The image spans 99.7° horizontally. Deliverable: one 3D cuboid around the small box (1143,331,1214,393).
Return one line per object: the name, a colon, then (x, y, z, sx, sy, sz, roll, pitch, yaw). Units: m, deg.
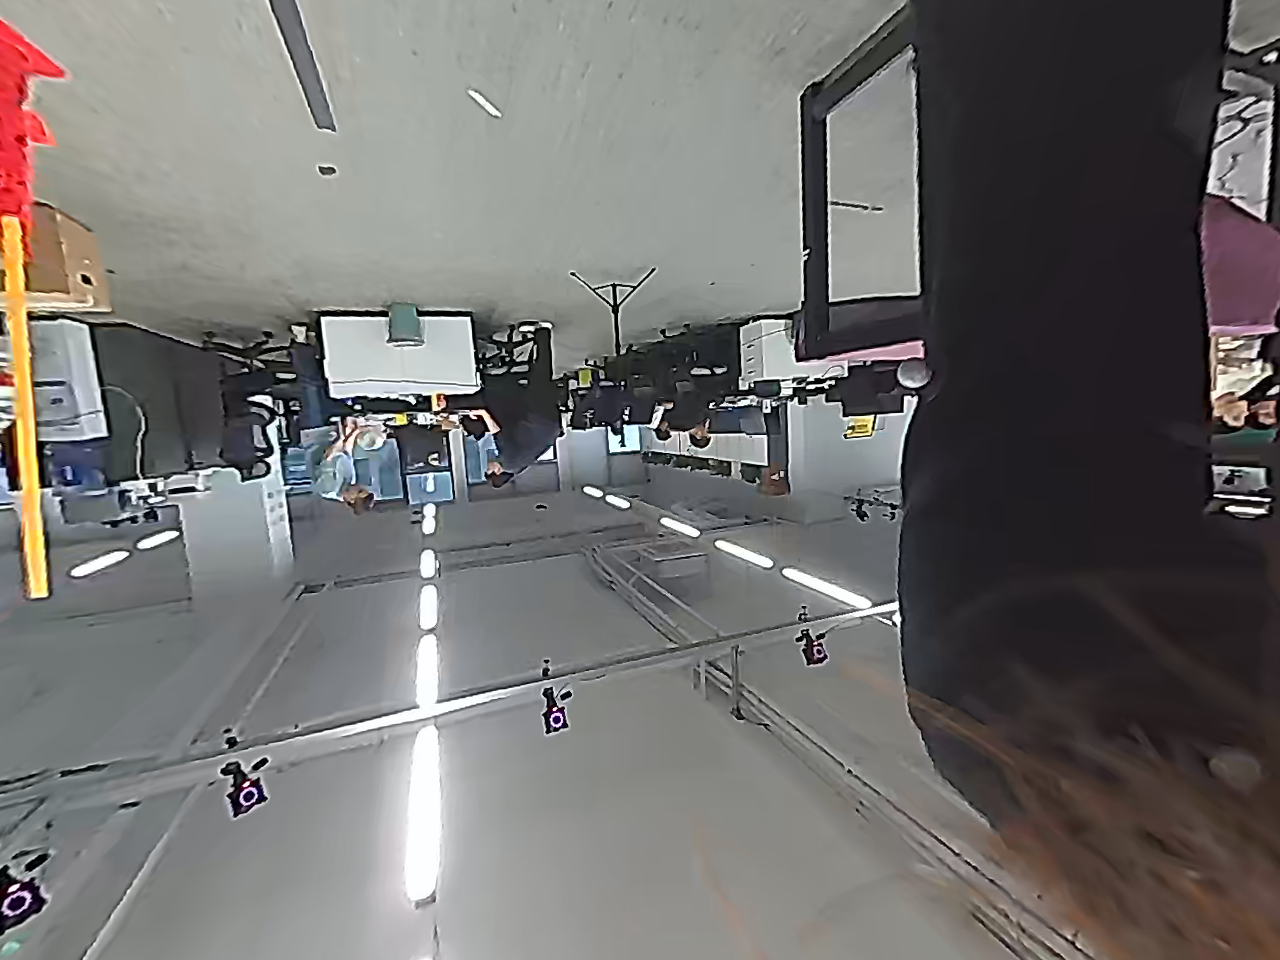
small box: (1.561, -0.349, 1.620, 0.168, 0.176, 0.179, -6, -173, -17)
